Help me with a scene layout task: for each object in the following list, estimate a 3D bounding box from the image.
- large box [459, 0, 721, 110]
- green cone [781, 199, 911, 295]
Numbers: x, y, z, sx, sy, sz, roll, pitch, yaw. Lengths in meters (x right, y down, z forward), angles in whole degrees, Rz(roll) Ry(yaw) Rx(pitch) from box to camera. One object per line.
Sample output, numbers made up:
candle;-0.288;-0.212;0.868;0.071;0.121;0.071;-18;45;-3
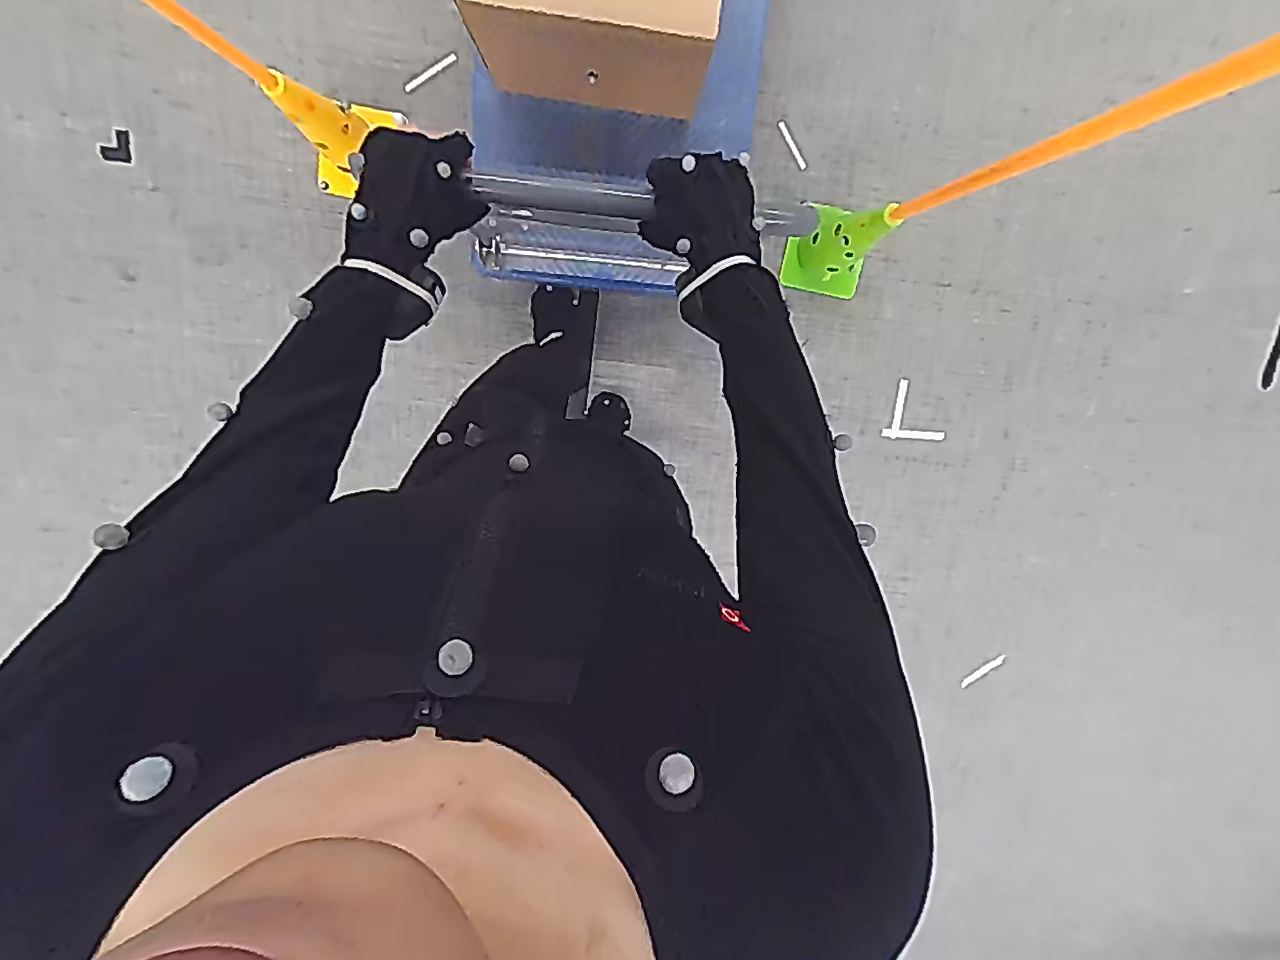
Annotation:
large box;-0.063;-0.888;0.932;0.408;0.320;0.320;7;104;-3
green cone;0.474;-0.538;1.181;0.202;0.368;0.200;10;103;-5
